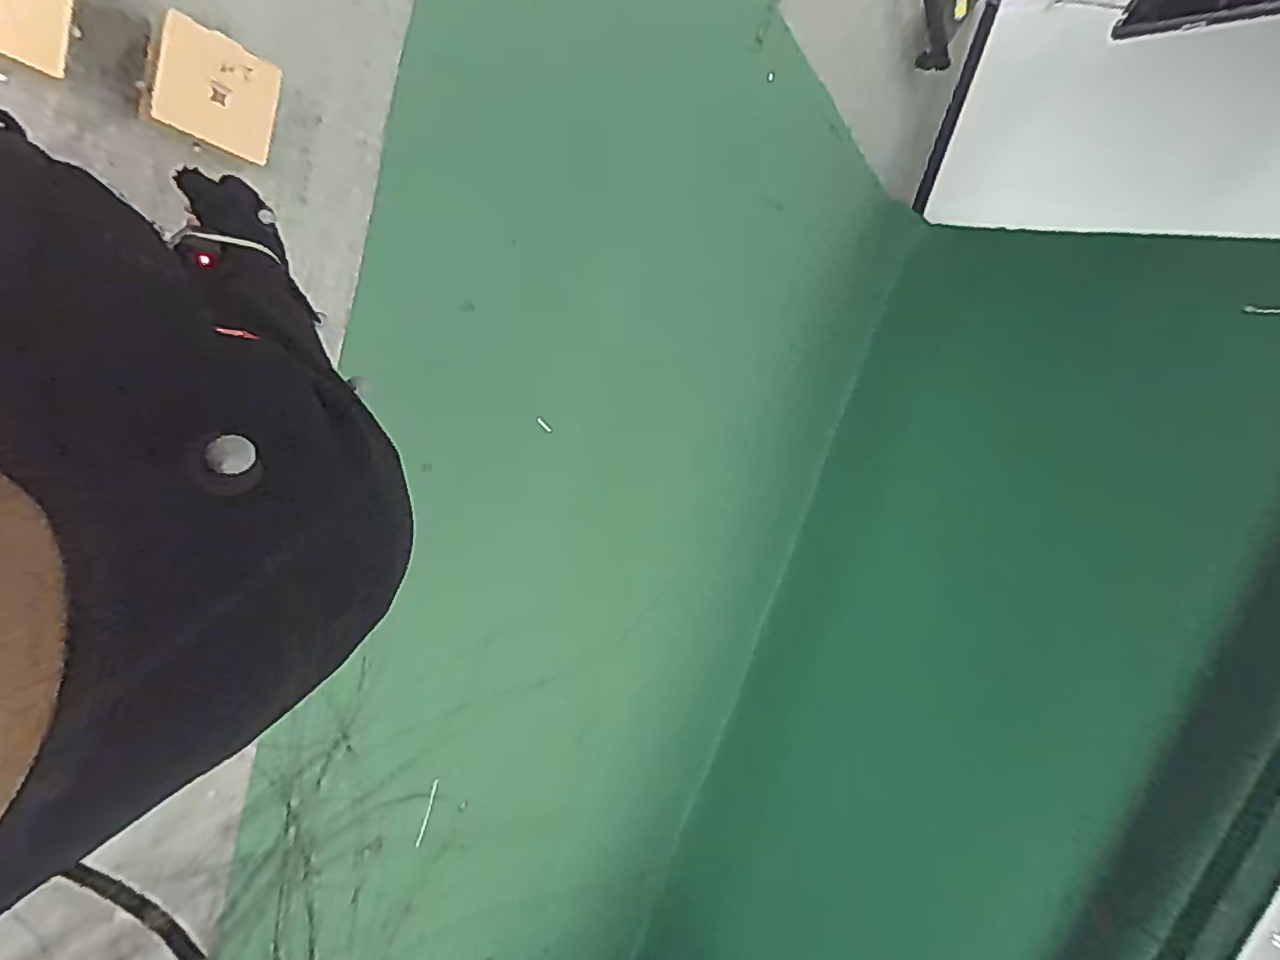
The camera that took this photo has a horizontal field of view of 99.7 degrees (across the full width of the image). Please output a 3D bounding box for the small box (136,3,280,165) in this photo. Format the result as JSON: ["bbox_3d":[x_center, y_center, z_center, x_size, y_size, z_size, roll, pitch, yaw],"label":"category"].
[{"bbox_3d":[-0.791,-0.702,0.986,0.168,0.176,0.179,7,104,-51],"label":"small box"}]
